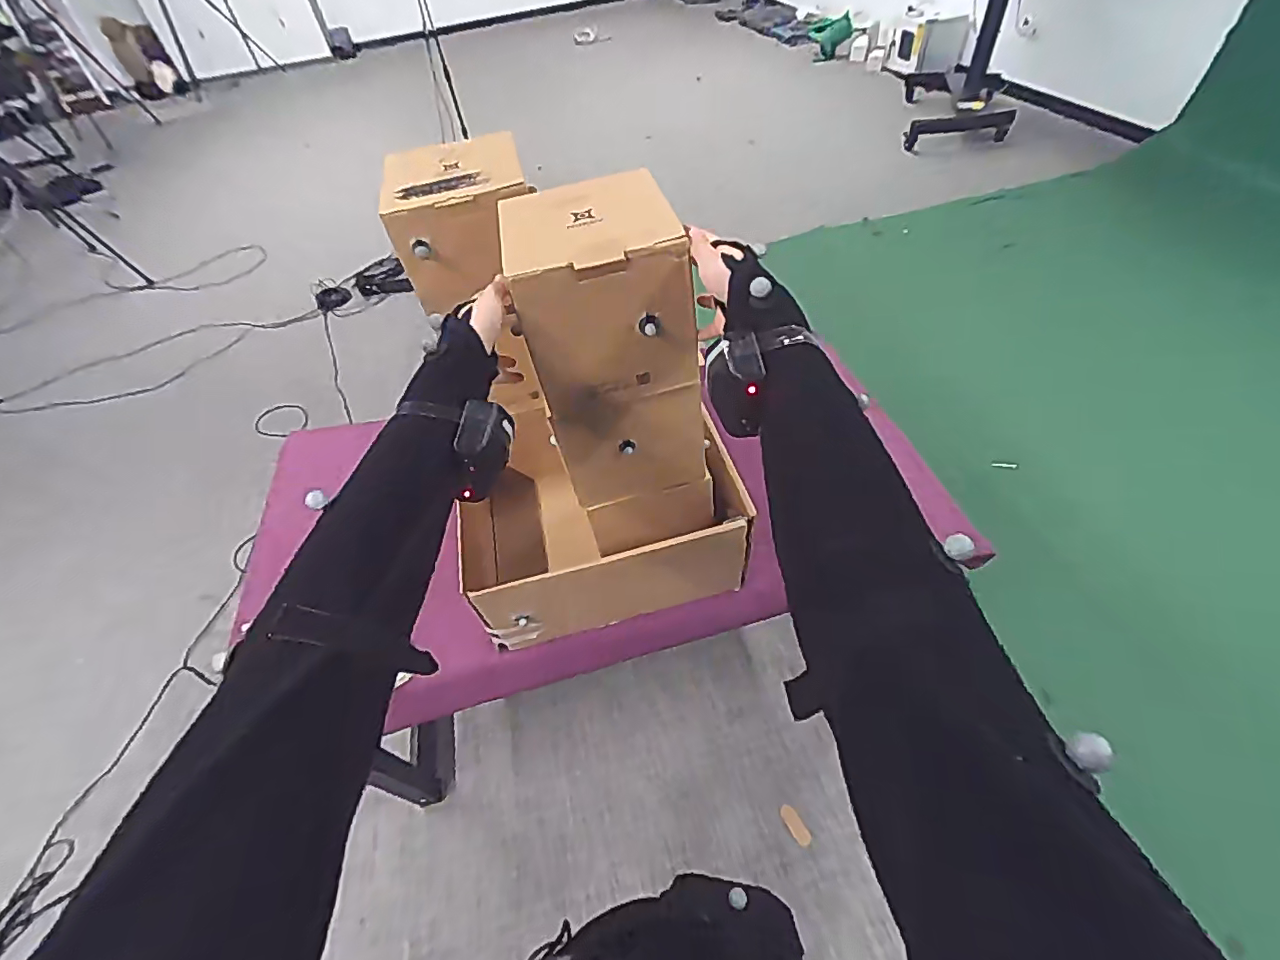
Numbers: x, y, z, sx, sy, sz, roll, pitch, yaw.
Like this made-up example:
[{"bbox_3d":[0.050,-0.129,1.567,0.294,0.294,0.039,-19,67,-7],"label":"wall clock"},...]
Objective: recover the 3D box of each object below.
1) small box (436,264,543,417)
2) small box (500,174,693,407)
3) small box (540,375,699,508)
[{"bbox_3d":[-0.206,-0.216,0.849,0.168,0.176,0.179,-13,51,-3],"label":"small box"},{"bbox_3d":[-0.044,-0.196,0.583,0.168,0.176,0.179,-14,47,-2],"label":"small box"},{"bbox_3d":[-0.025,-0.089,0.706,0.179,0.176,0.168,-15,48,-1],"label":"small box"}]
